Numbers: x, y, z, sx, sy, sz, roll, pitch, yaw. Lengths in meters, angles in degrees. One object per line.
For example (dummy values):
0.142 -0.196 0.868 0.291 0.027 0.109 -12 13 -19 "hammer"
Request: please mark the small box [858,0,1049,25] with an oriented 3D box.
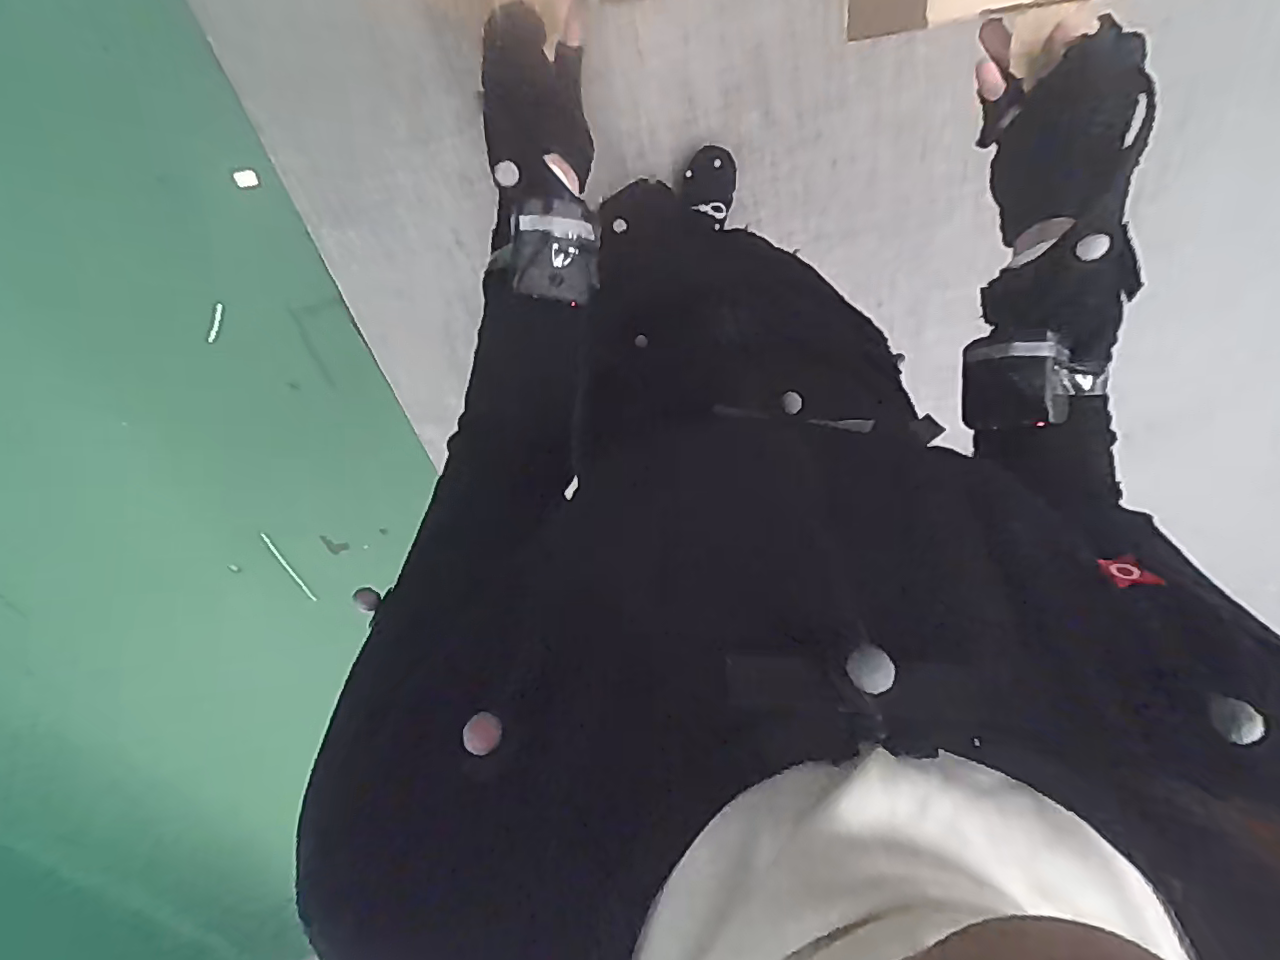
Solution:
0.240 -0.402 0.329 0.168 0.176 0.179 -6 127 6 "small box"
